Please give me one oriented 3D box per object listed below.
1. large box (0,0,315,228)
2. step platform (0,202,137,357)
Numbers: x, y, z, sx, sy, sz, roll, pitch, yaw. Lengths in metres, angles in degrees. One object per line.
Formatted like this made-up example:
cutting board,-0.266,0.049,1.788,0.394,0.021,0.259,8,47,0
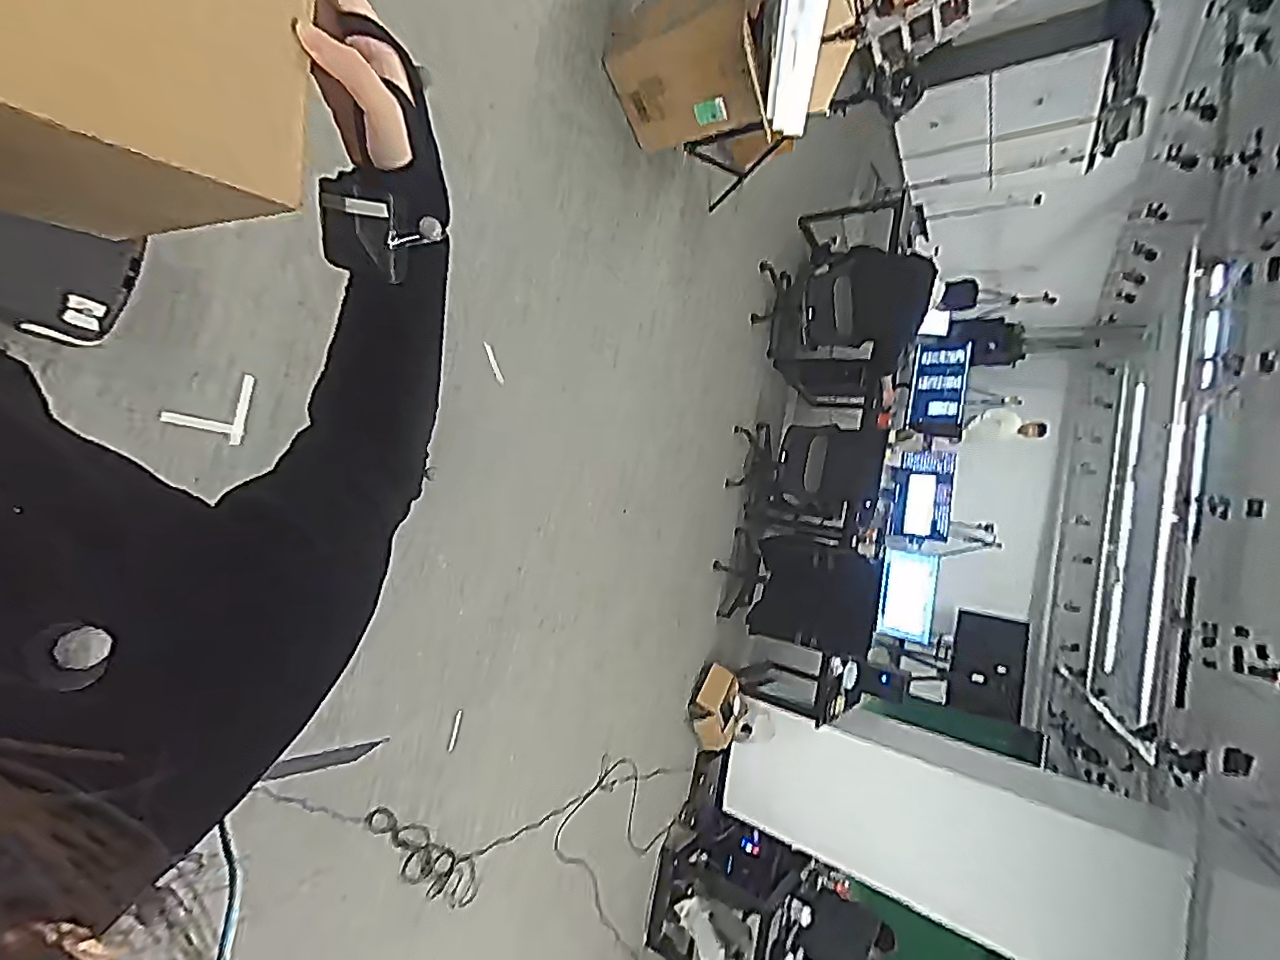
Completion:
large box,-0.405,-0.320,0.207,0.408,0.320,0.320,-6,105,-57
step platform,-1.177,-0.448,0.758,0.684,0.204,0.286,29,72,-53
